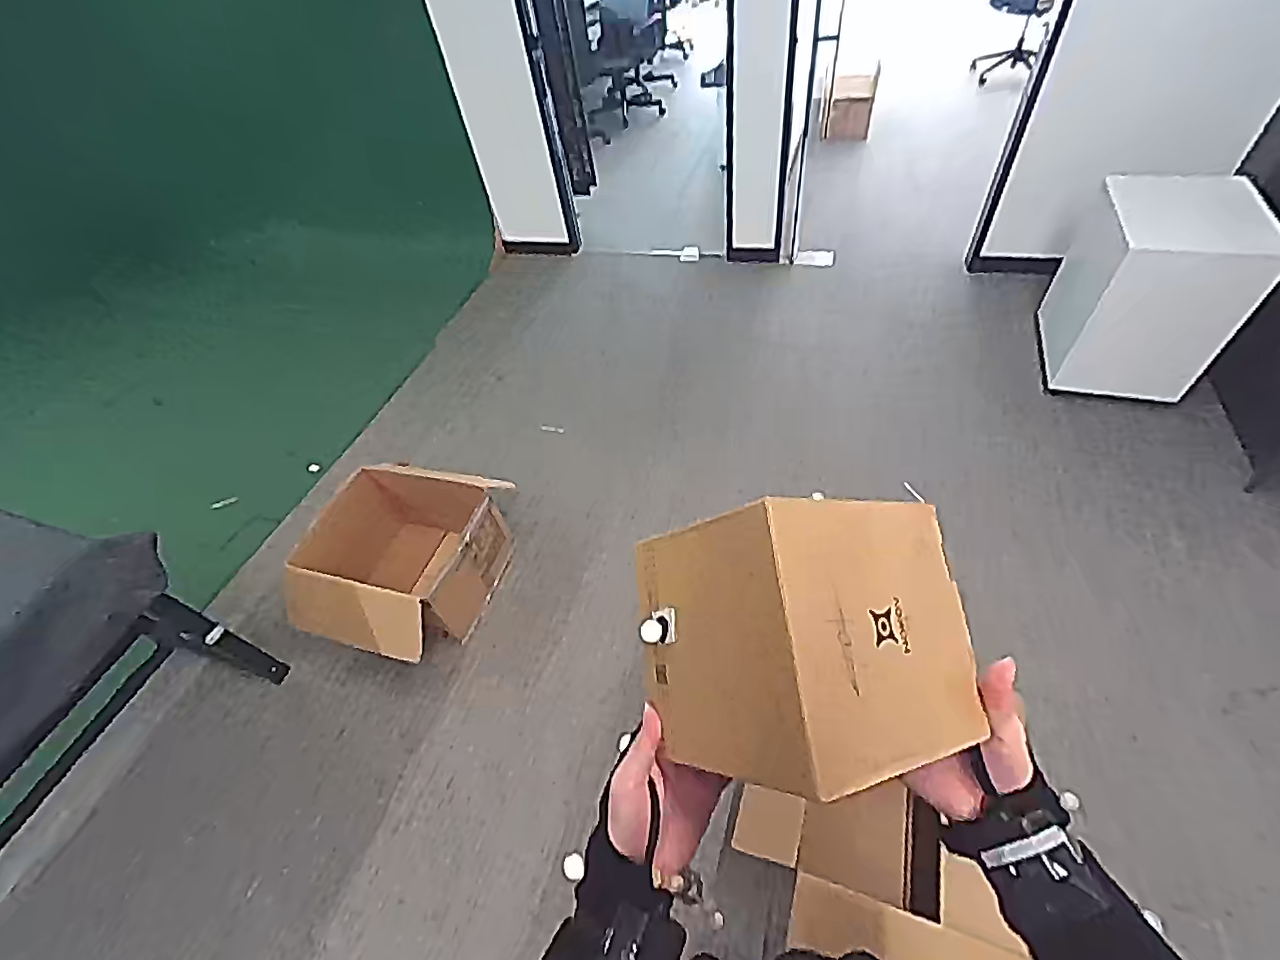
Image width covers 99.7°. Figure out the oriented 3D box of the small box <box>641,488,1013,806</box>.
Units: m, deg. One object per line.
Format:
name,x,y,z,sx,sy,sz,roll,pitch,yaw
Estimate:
small box,0.122,0.107,0.394,0.179,0.176,0.168,2,73,-30
